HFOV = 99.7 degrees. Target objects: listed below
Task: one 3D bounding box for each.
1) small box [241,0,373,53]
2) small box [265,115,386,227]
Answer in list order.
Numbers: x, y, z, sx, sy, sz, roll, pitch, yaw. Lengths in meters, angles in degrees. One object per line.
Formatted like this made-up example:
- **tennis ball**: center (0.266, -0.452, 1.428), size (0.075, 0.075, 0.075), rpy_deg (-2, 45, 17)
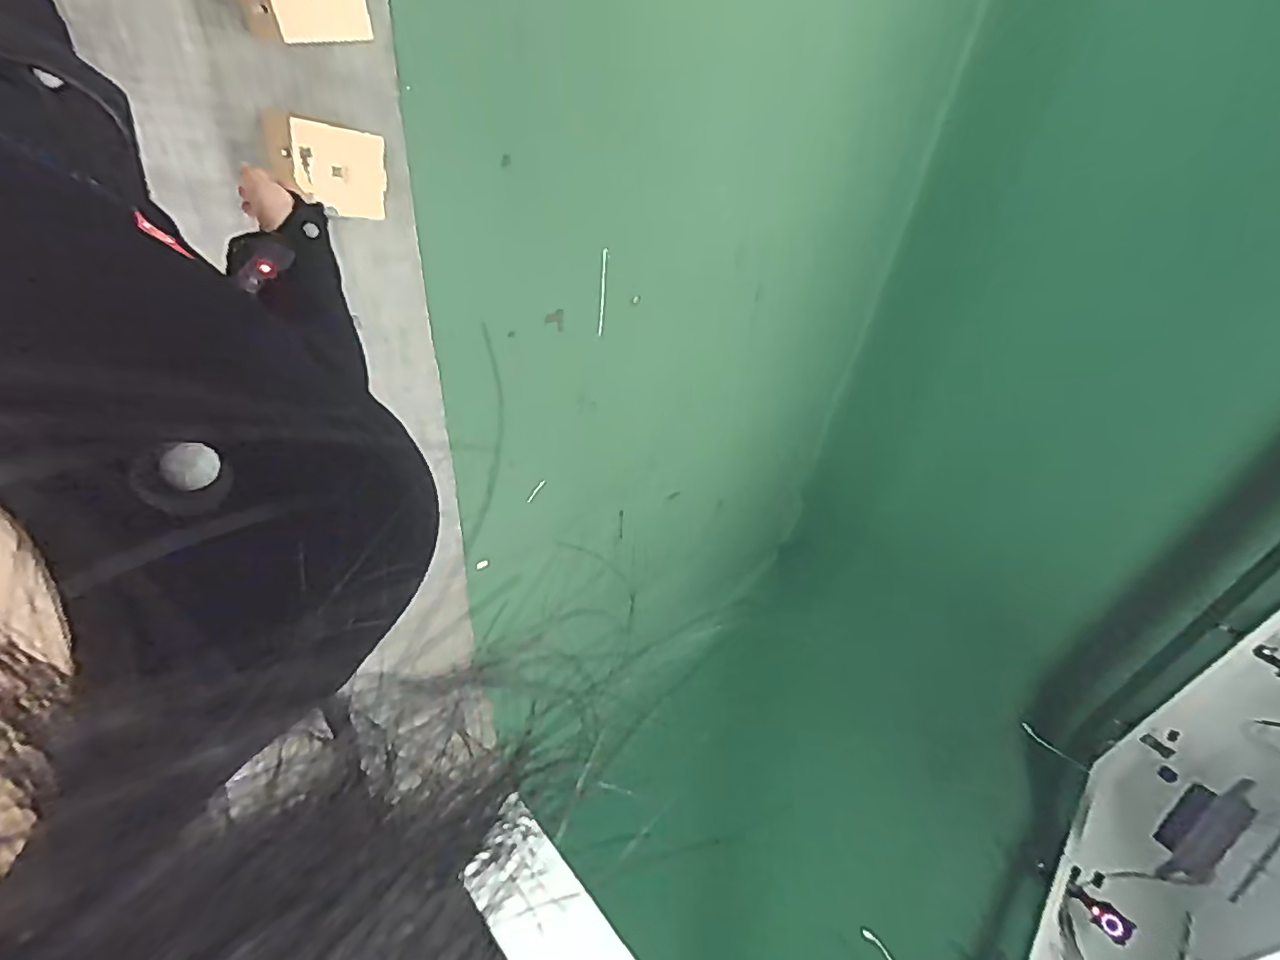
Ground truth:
- **small box**: center (-0.623, -0.898, 0.985), size (0.168, 0.176, 0.179), rpy_deg (-32, 141, -31)
- **small box**: center (-0.664, -0.654, 1.149), size (0.179, 0.176, 0.168), rpy_deg (-17, 132, -43)
